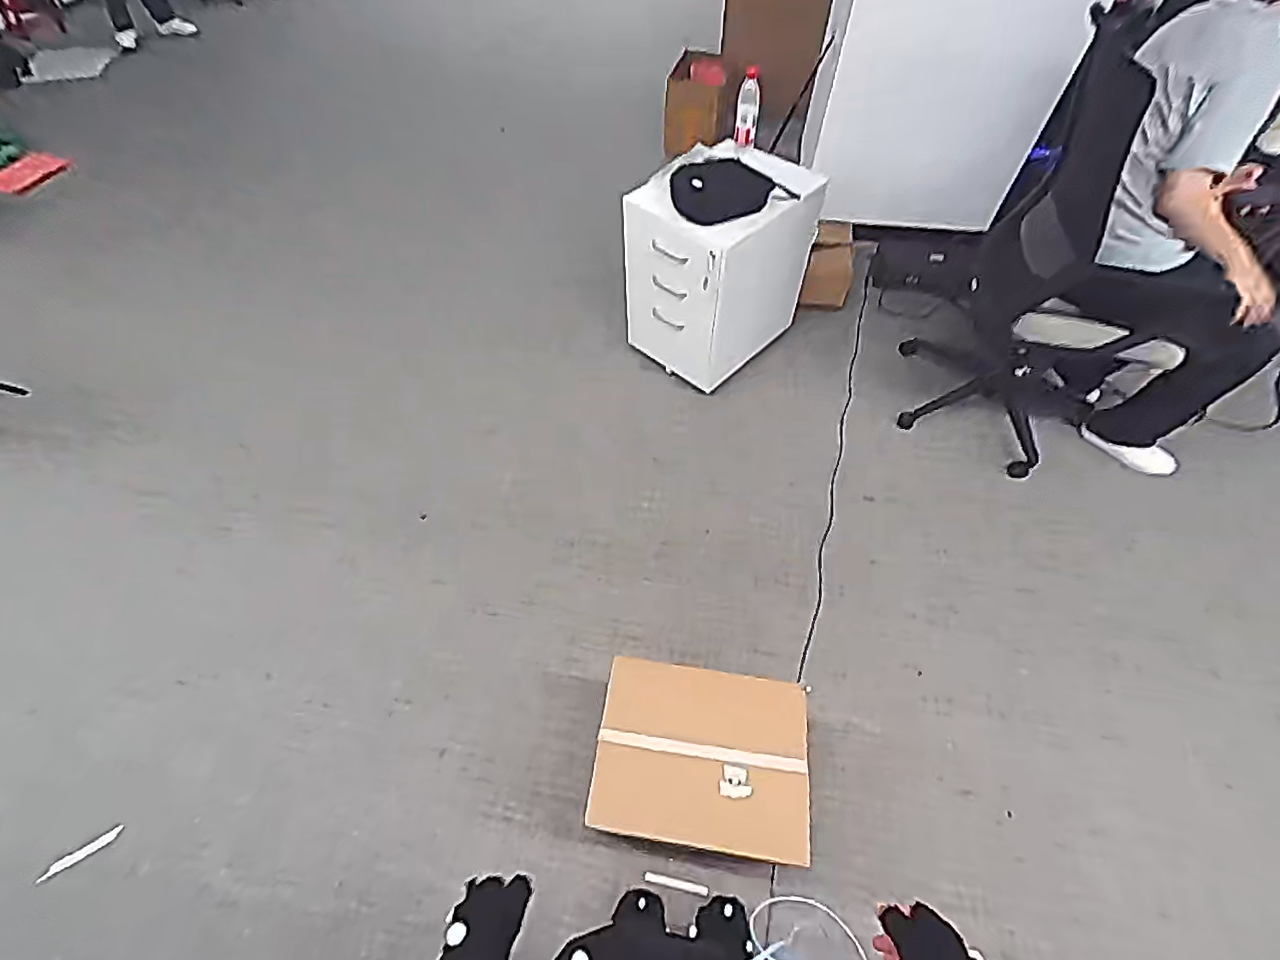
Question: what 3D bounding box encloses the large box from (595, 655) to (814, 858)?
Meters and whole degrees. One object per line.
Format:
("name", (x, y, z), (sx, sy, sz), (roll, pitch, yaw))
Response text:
("large box", (0.133, 0.606, 1.178), (0.408, 0.320, 0.320), (7, 57, 6))
